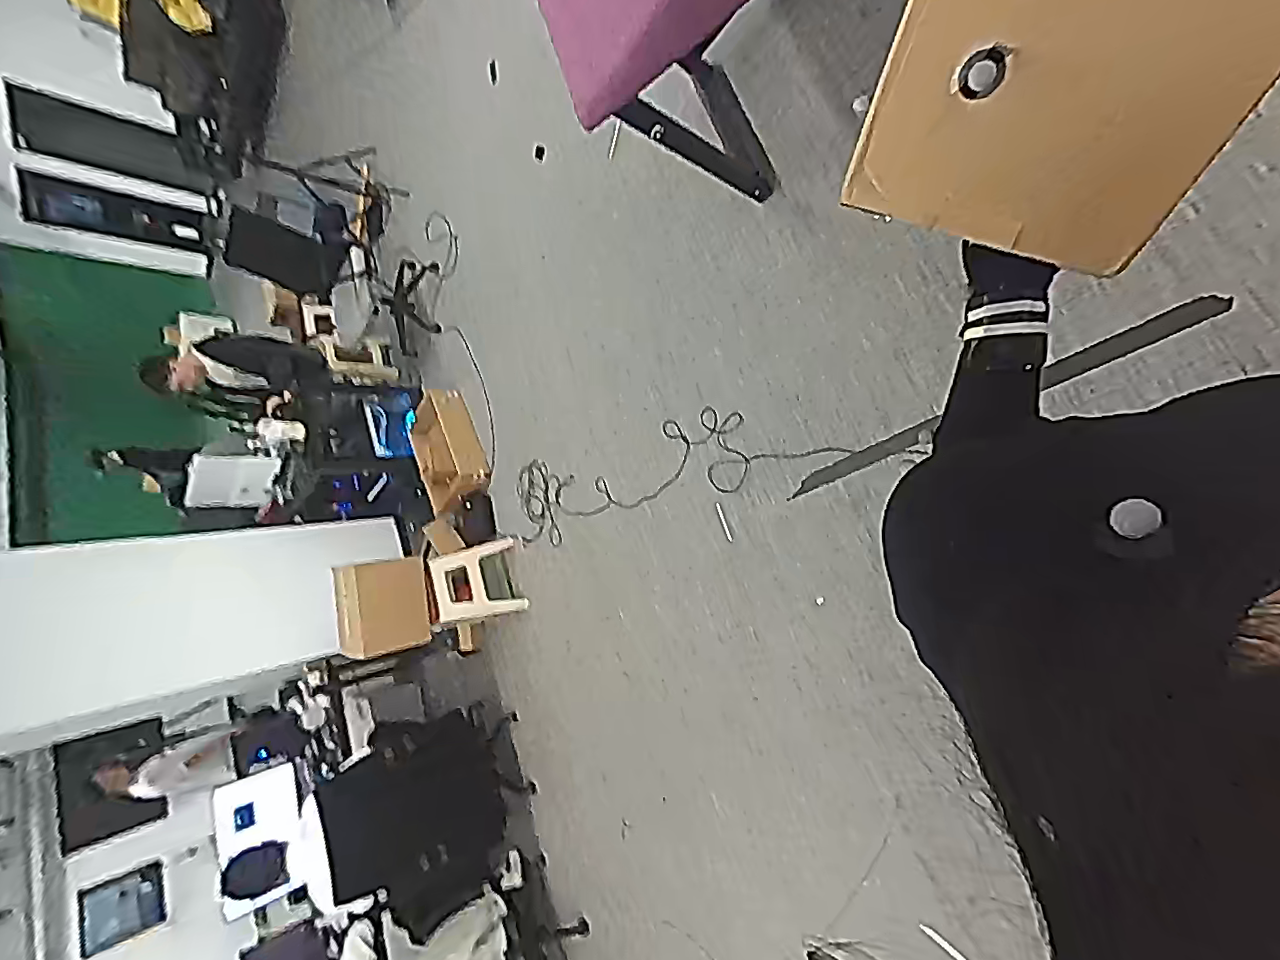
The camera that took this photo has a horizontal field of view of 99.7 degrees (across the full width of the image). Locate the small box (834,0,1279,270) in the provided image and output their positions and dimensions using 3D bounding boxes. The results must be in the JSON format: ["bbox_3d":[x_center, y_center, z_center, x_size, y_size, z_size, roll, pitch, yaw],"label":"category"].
[{"bbox_3d":[0.239,-0.259,0.325,0.168,0.179,0.176,23,138,12],"label":"small box"}]
